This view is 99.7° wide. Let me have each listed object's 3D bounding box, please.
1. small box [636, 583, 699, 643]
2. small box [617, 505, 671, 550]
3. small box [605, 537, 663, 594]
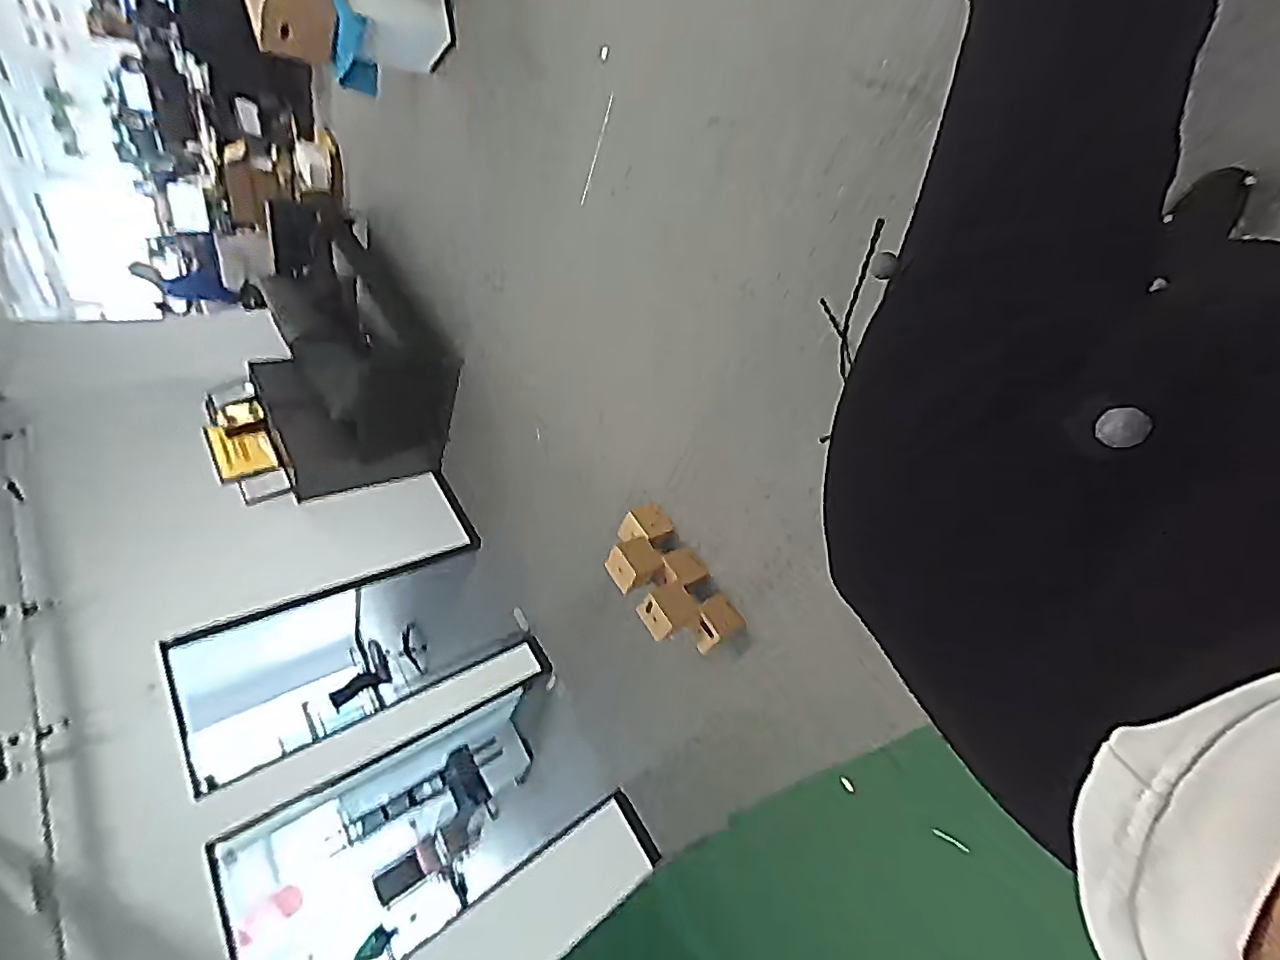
[{"bbox_3d":[0.120,0.564,2.331,0.179,0.176,0.168,53,138,22],"label":"small box"},{"bbox_3d":[0.025,0.242,2.596,0.168,0.176,0.179,53,137,23],"label":"small box"},{"bbox_3d":[-0.026,0.381,2.444,0.179,0.176,0.168,53,137,26],"label":"small box"}]
